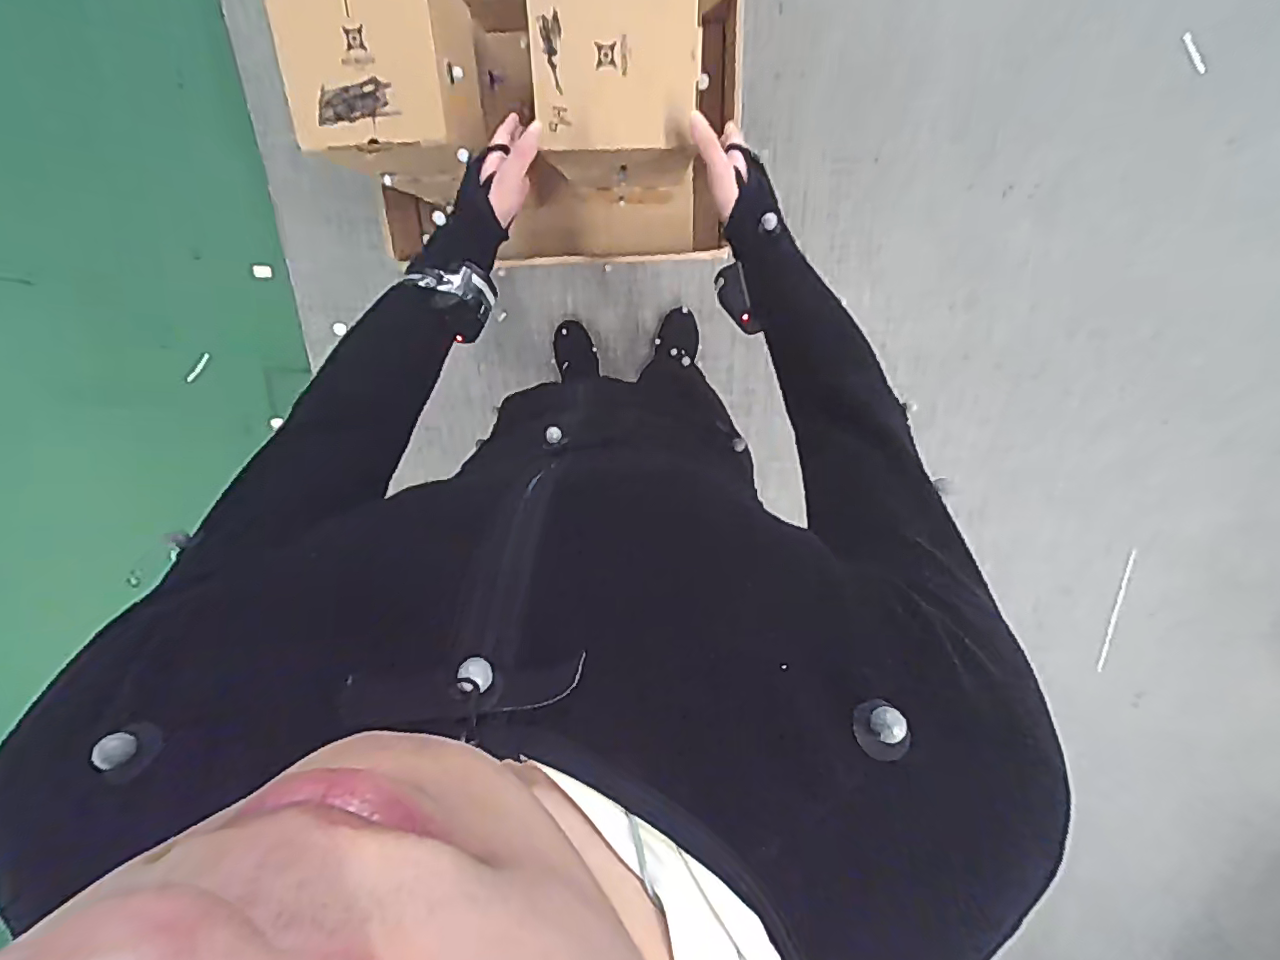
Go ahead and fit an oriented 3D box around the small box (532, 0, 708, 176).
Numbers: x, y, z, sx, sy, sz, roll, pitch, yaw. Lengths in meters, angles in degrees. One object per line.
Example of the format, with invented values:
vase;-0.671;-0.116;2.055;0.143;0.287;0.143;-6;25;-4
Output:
small box;-0.021;-0.457;0.623;0.179;0.176;0.168;0;112;0

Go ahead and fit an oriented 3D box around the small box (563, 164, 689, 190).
small box;-0.018;-0.518;0.775;0.179;0.176;0.168;0;112;0

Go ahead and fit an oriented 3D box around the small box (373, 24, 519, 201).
small box;-0.278;-0.513;0.777;0.168;0.176;0.179;-1;110;2

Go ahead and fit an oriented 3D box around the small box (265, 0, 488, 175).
small box;-0.284;-0.461;0.621;0.168;0.176;0.179;-2;110;1
